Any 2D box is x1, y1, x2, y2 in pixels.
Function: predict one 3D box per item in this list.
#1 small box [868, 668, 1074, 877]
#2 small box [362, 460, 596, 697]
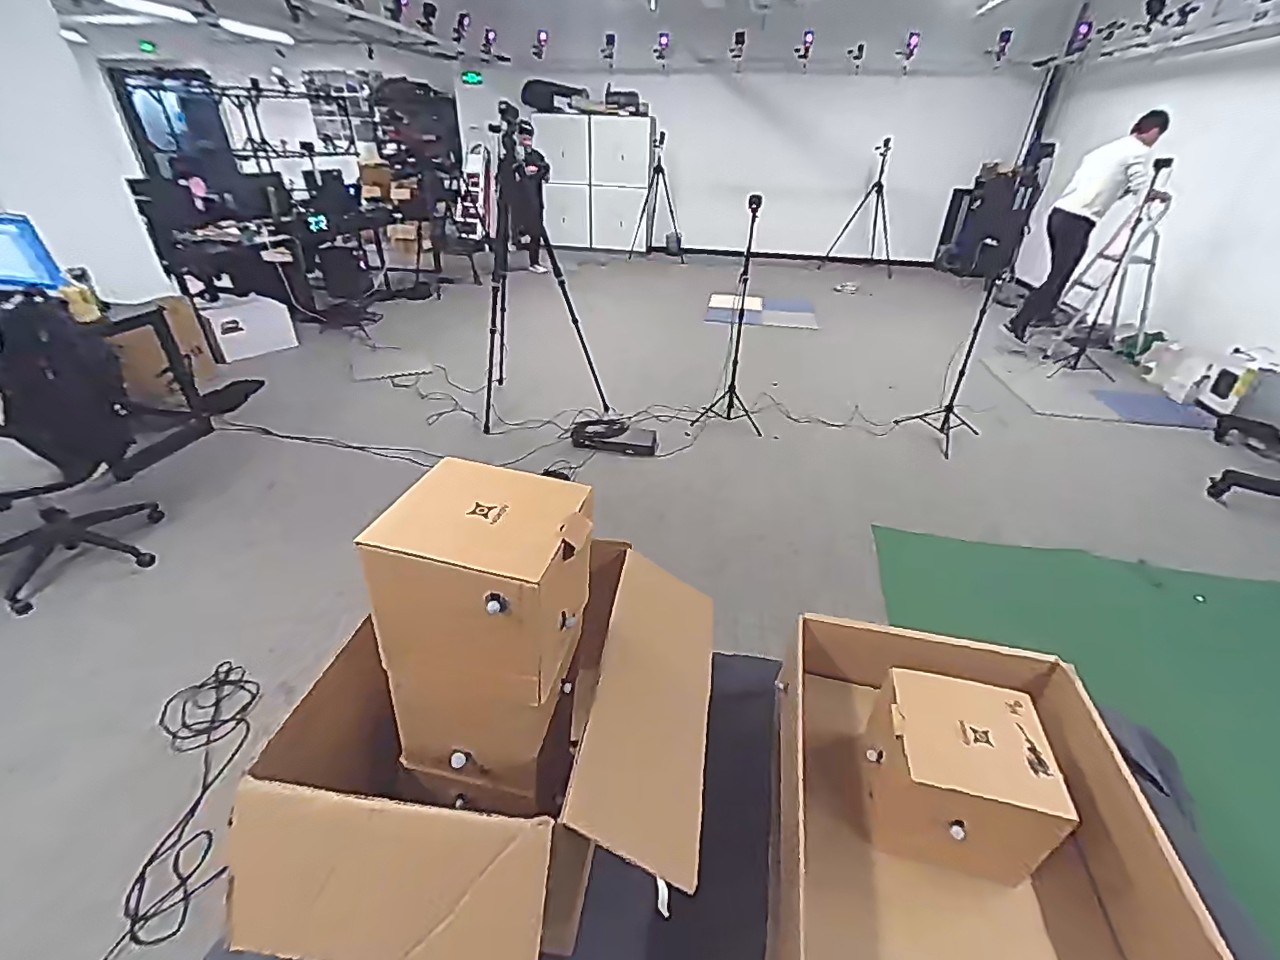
[{"bbox_3d":[0.408,0.380,0.710,0.179,0.176,0.168,7,34,12],"label":"small box"},{"bbox_3d":[-0.156,0.101,0.574,0.179,0.176,0.168,11,31,6],"label":"small box"}]
